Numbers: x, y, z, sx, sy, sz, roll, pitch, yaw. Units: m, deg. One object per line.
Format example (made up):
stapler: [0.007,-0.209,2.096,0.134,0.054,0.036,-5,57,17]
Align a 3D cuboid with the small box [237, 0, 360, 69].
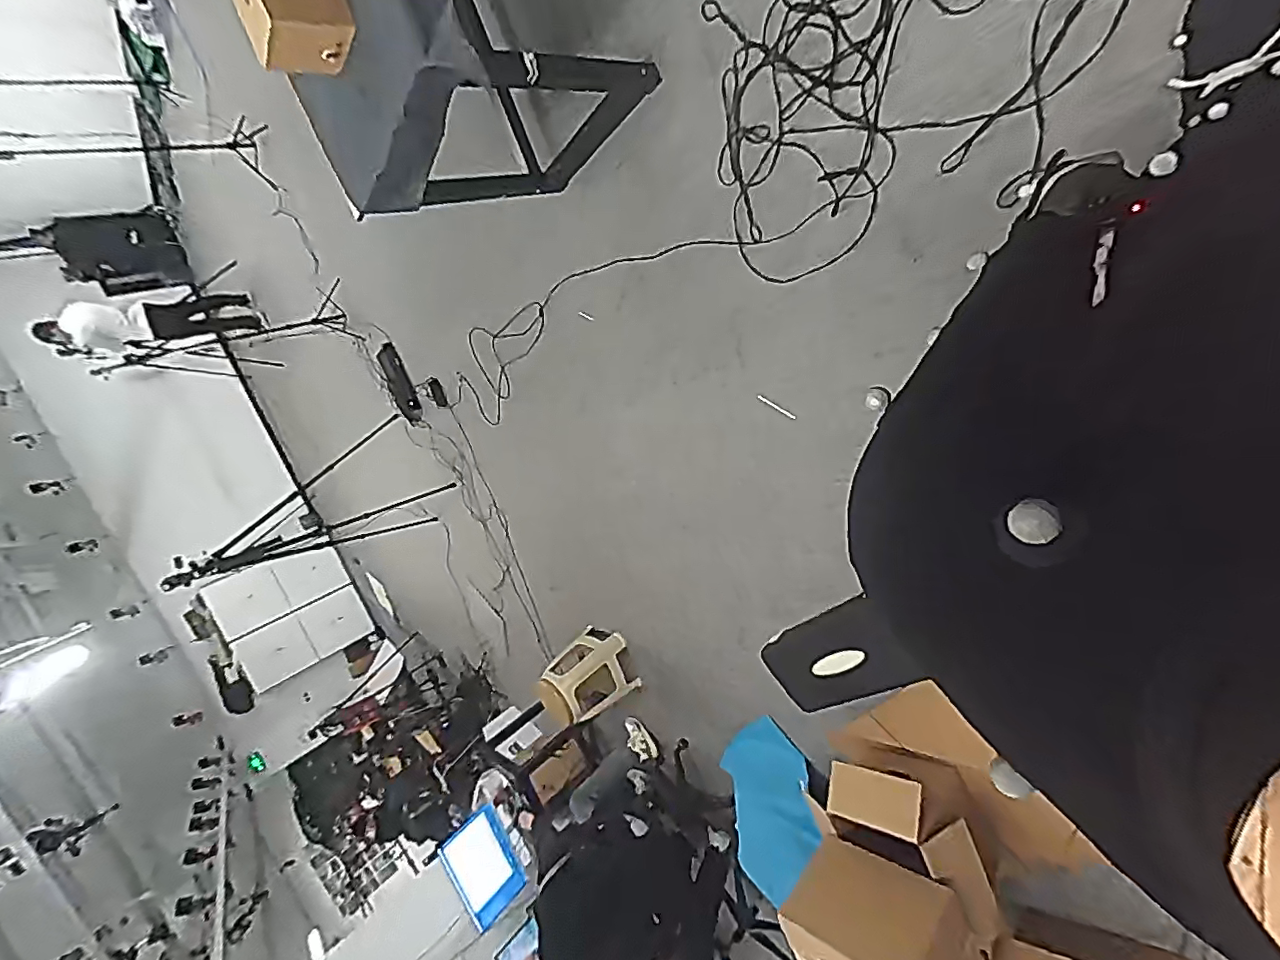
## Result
small box: [-0.718,-0.998,1.127,0.168,0.176,0.179,-2,112,52]
